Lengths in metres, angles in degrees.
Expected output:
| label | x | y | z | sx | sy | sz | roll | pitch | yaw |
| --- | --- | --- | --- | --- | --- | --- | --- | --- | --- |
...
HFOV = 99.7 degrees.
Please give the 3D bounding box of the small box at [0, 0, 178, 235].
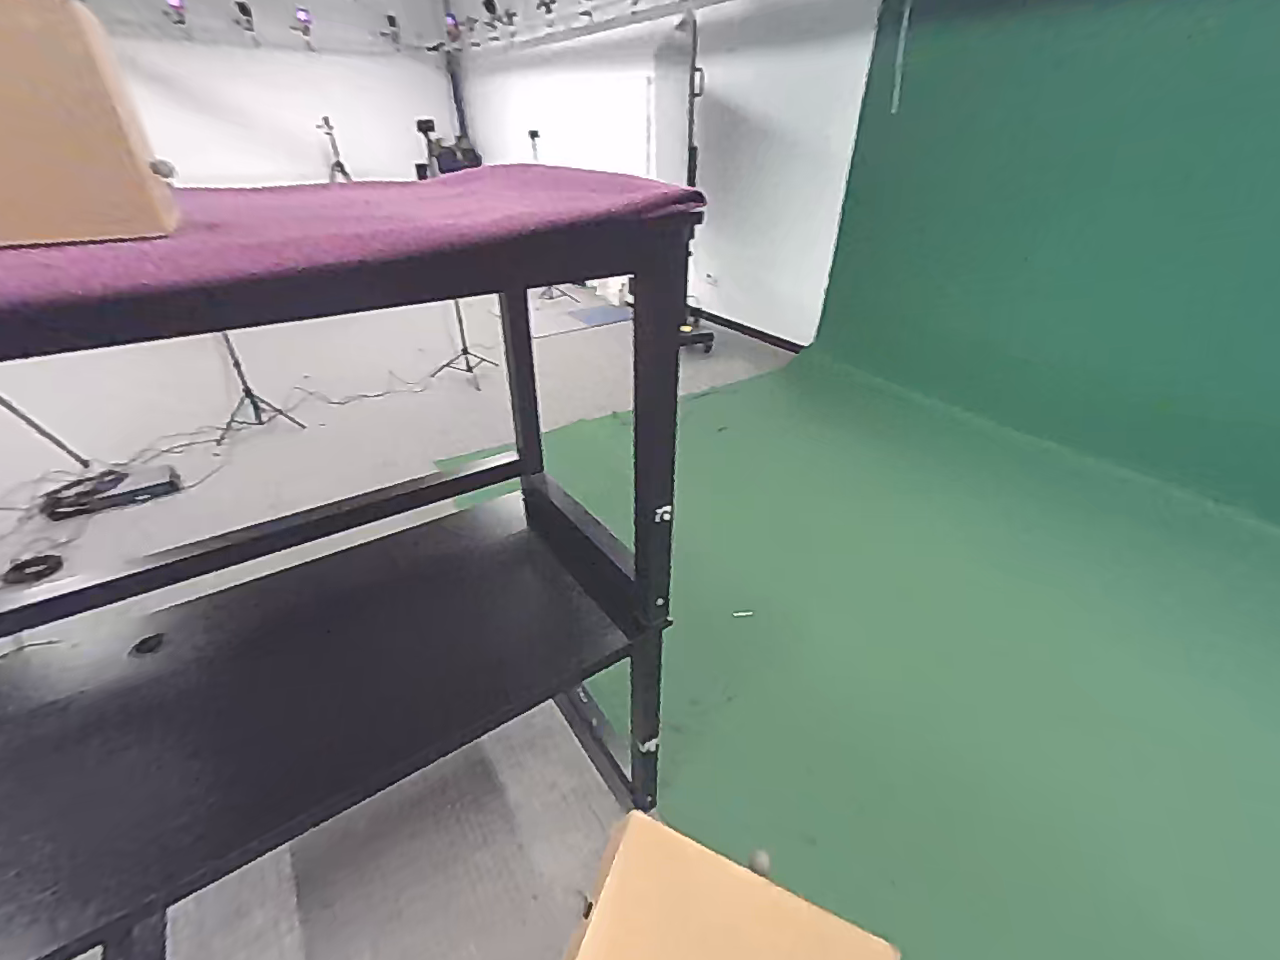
| label | x | y | z | sx | sy | sz | roll | pitch | yaw |
| --- | --- | --- | --- | --- | --- | --- | --- | --- | --- |
| small box | -0.531 | -0.299 | 0.446 | 0.179 | 0.176 | 0.168 | -19 | 36 | -28 |
